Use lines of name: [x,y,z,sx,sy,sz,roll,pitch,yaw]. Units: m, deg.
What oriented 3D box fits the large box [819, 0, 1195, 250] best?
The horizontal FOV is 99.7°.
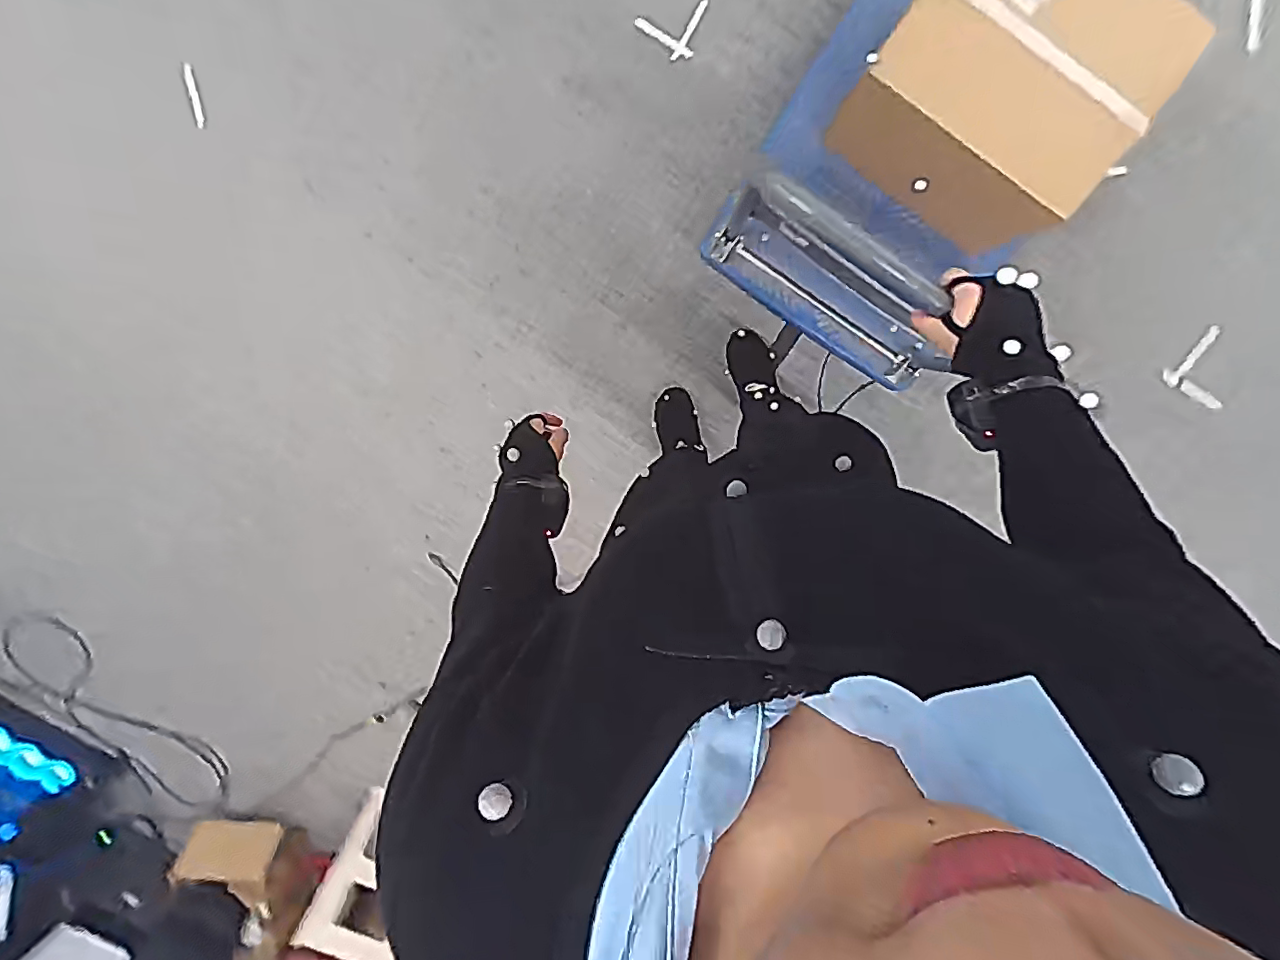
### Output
large box: [0.610,-0.691,0.988,0.408,0.320,0.320,34,102,-2]
